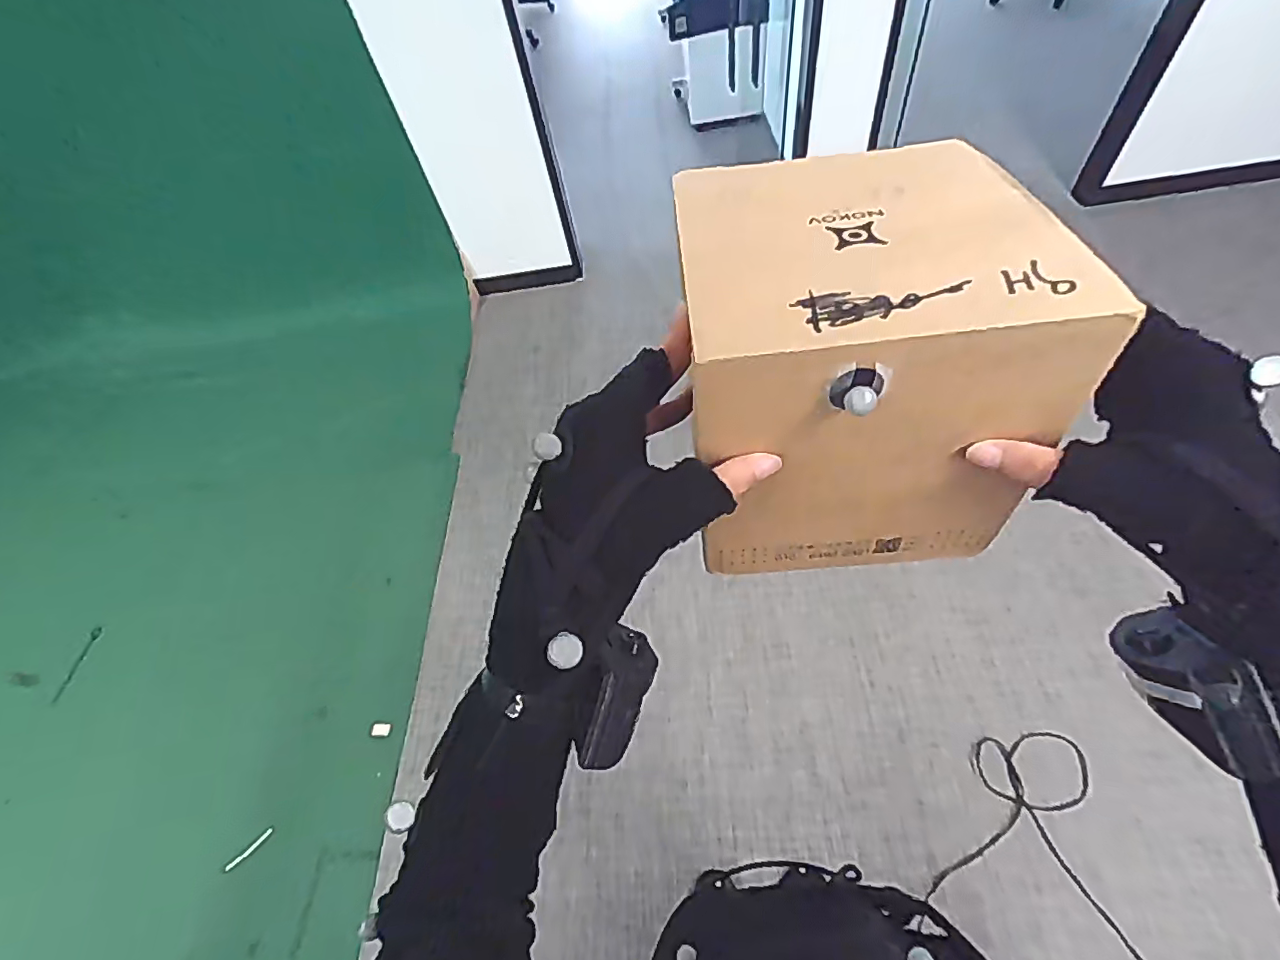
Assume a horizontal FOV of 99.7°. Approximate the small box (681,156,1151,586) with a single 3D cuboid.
[{"bbox_3d":[0.113,-0.059,0.315,0.168,0.176,0.179,-5,49,5],"label":"small box"}]
